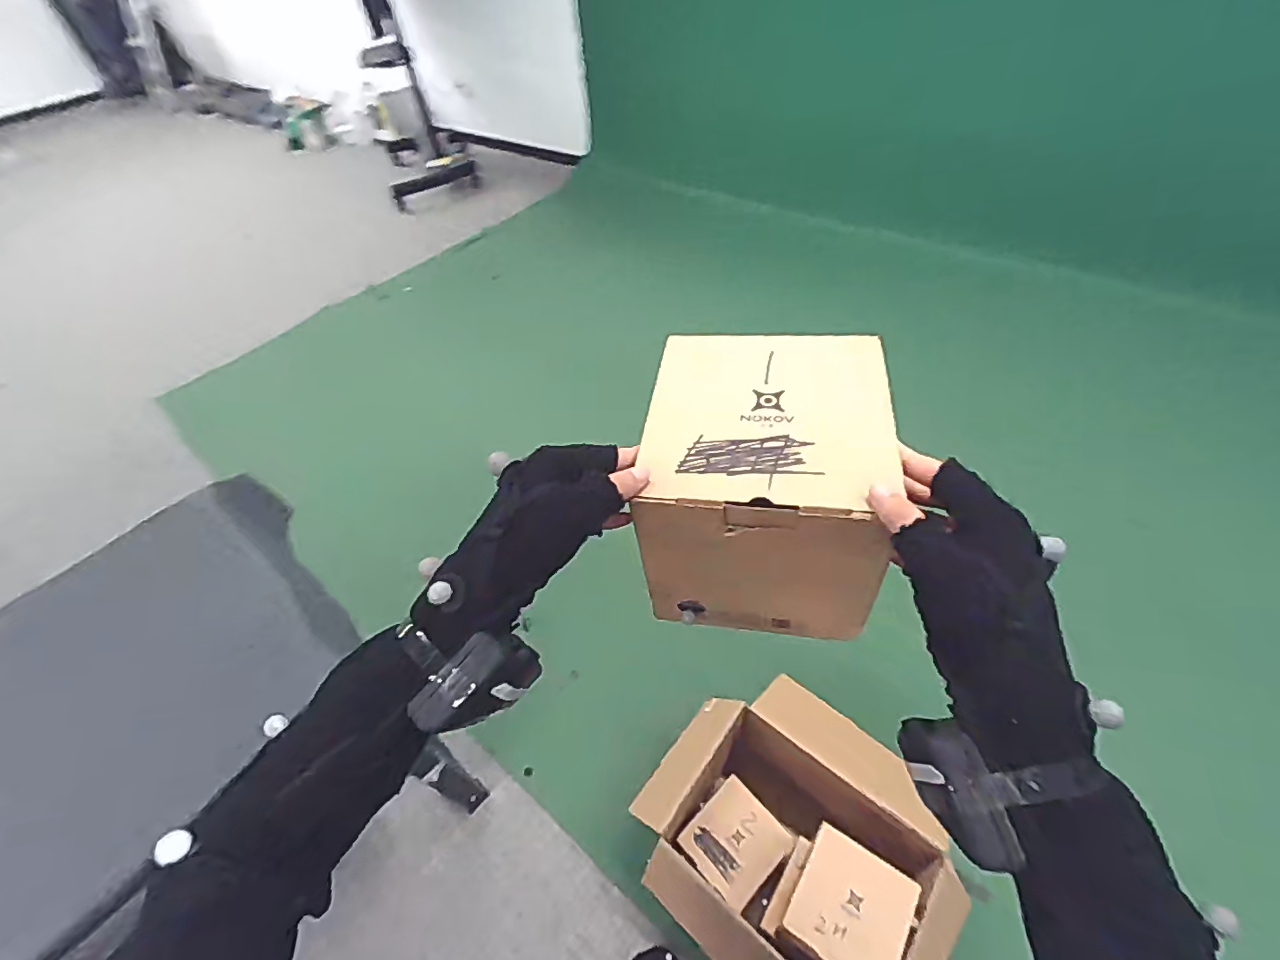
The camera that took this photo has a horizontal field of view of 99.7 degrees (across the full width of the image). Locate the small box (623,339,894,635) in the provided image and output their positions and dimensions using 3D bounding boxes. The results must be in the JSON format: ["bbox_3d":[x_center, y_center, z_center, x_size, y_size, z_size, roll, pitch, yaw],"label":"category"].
[{"bbox_3d":[0.093,0.007,0.437,0.168,0.176,0.179,3,49,12],"label":"small box"}]
